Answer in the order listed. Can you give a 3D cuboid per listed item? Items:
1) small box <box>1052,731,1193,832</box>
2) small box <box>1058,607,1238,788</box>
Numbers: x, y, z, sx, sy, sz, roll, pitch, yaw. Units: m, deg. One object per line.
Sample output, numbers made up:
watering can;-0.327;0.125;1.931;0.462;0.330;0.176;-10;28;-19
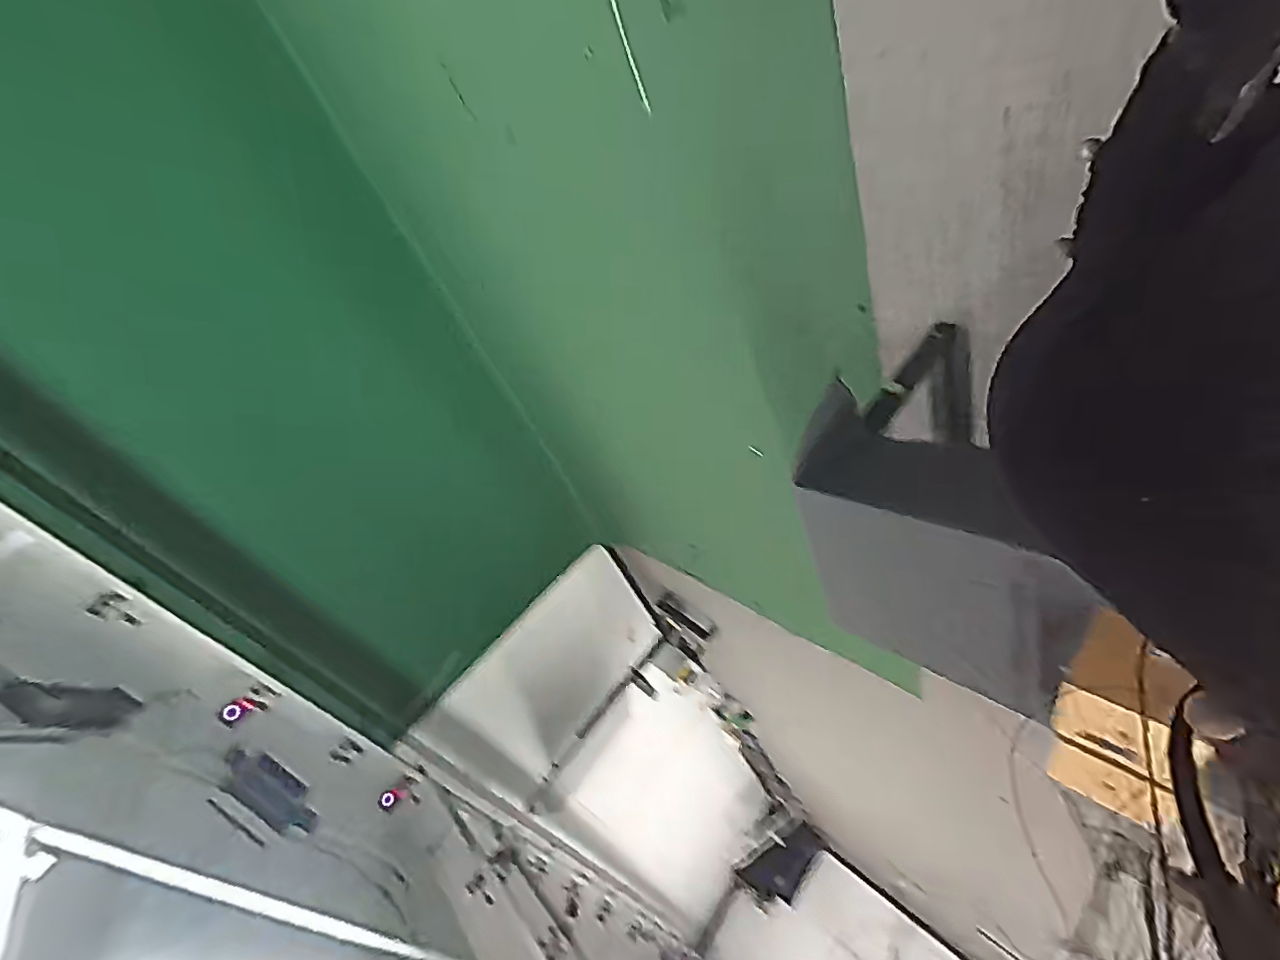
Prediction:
small box;0.889;0.487;0.989;0.168;0.176;0.179;21;147;44
small box;0.809;0.342;0.869;0.168;0.176;0.179;21;148;45
